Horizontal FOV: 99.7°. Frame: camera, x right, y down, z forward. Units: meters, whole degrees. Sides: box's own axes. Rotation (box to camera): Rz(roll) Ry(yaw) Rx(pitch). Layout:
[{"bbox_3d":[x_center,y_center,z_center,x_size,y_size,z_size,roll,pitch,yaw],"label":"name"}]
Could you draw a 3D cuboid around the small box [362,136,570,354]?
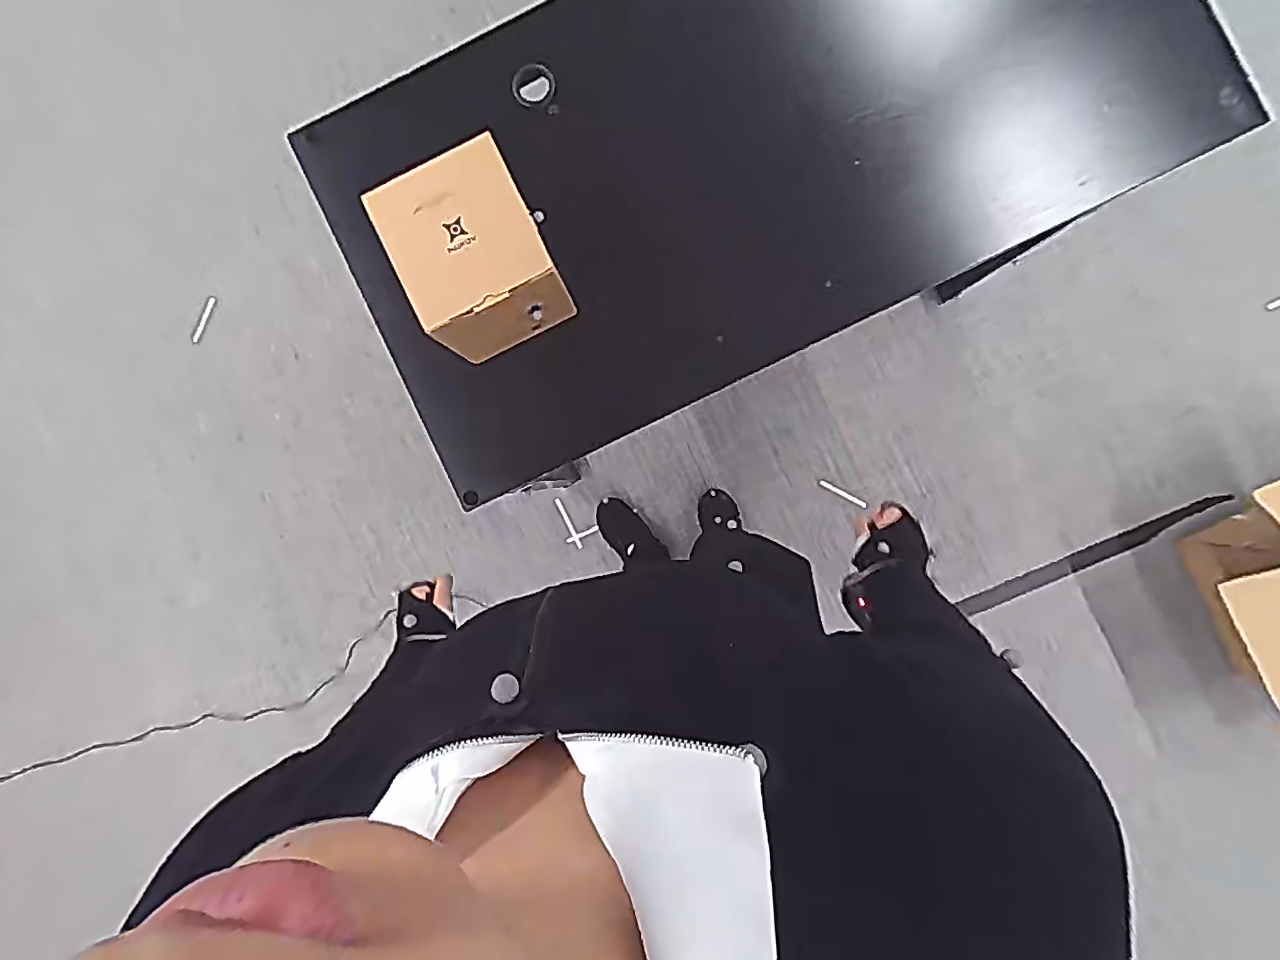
[{"bbox_3d":[-0.204,-0.277,0.689,0.168,0.176,0.179,-26,88,1],"label":"small box"}]
